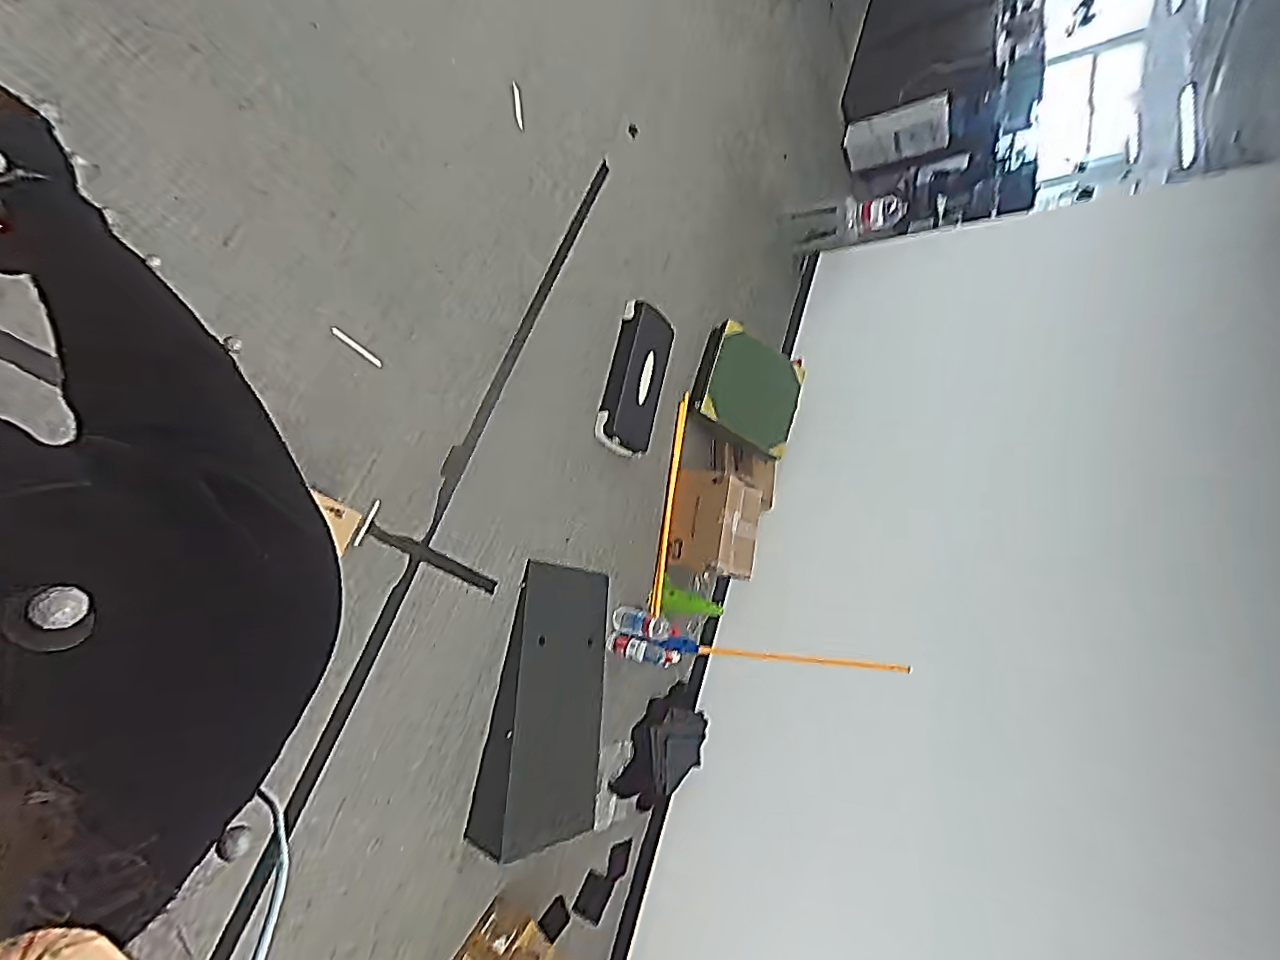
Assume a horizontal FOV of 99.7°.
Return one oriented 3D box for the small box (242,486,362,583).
[{"bbox_3d":[-0.832,0.130,1.324,0.168,0.176,0.179,43,60,-46],"label":"small box"}]
